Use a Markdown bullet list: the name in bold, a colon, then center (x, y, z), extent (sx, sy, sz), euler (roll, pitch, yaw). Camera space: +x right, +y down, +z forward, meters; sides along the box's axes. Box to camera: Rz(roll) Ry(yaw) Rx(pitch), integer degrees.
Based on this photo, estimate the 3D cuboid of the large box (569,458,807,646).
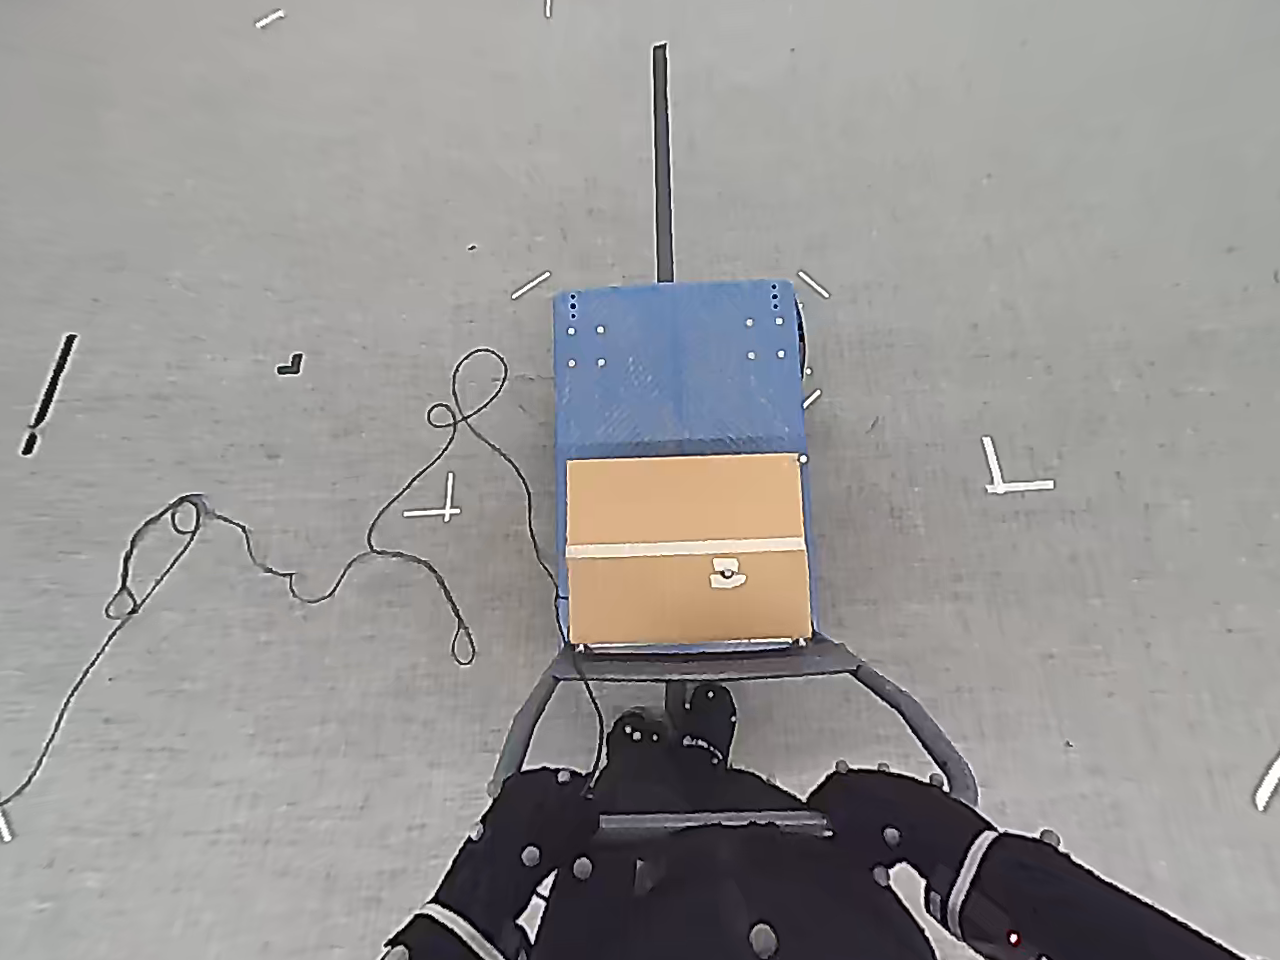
- **large box**: center (0.080, 0.142, 1.086), extent (0.408, 0.320, 0.320), euler (-2, 83, 0)
